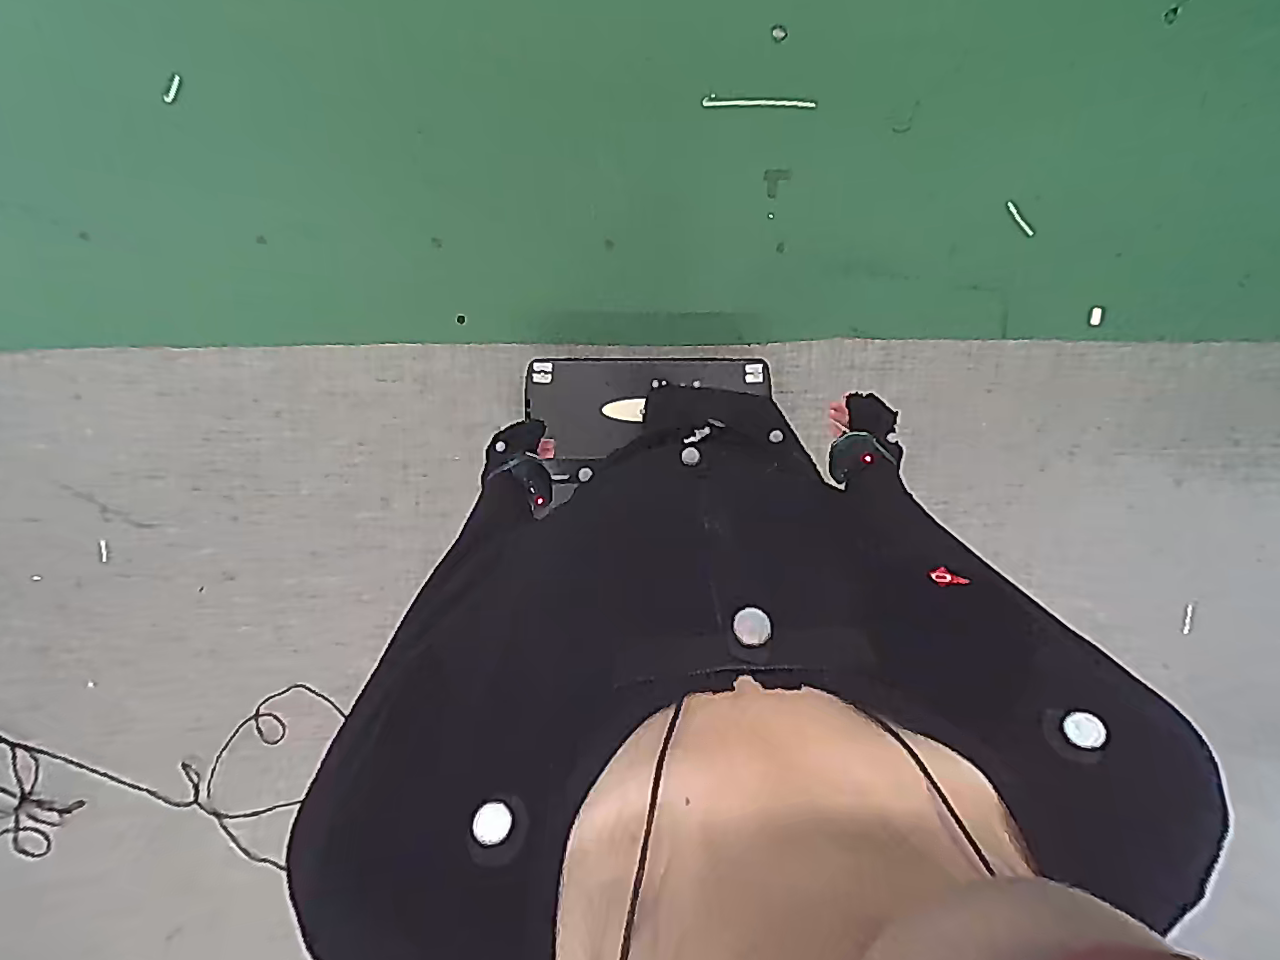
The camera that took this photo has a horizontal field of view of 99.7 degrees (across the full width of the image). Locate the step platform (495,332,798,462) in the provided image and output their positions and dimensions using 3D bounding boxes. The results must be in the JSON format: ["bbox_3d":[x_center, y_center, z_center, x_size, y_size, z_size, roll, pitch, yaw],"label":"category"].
[{"bbox_3d":[0.014,-0.201,1.311,0.684,0.204,0.286,-1,99,0],"label":"step platform"}]
